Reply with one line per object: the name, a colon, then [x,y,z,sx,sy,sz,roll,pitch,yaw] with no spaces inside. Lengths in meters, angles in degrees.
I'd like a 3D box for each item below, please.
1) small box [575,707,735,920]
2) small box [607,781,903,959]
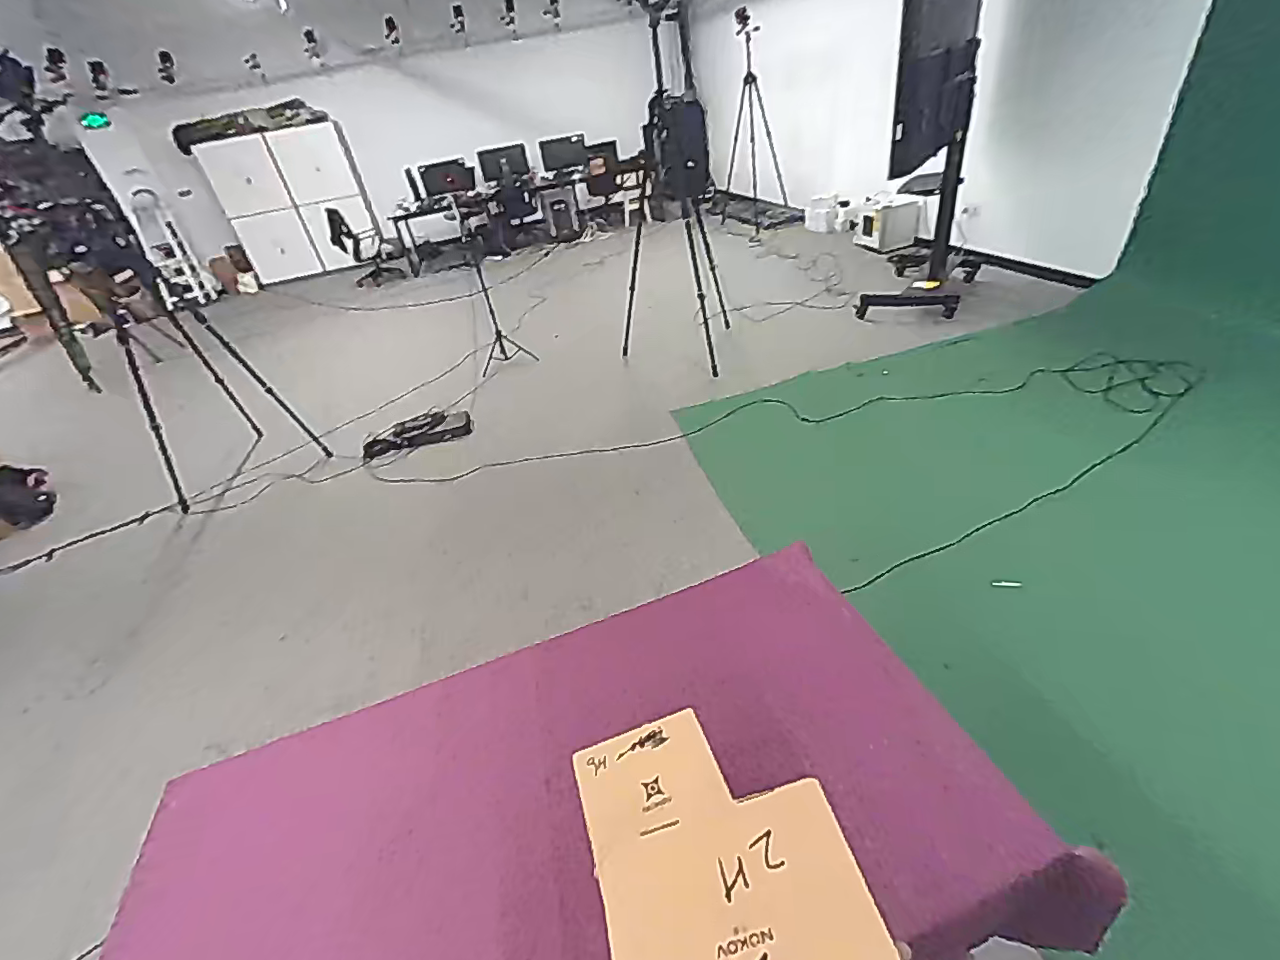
small box: [0.031,0.428,0.673,0.168,0.176,0.179,-17,37,-9]
small box: [0.086,0.349,0.369,0.168,0.176,0.179,-16,38,-3]
